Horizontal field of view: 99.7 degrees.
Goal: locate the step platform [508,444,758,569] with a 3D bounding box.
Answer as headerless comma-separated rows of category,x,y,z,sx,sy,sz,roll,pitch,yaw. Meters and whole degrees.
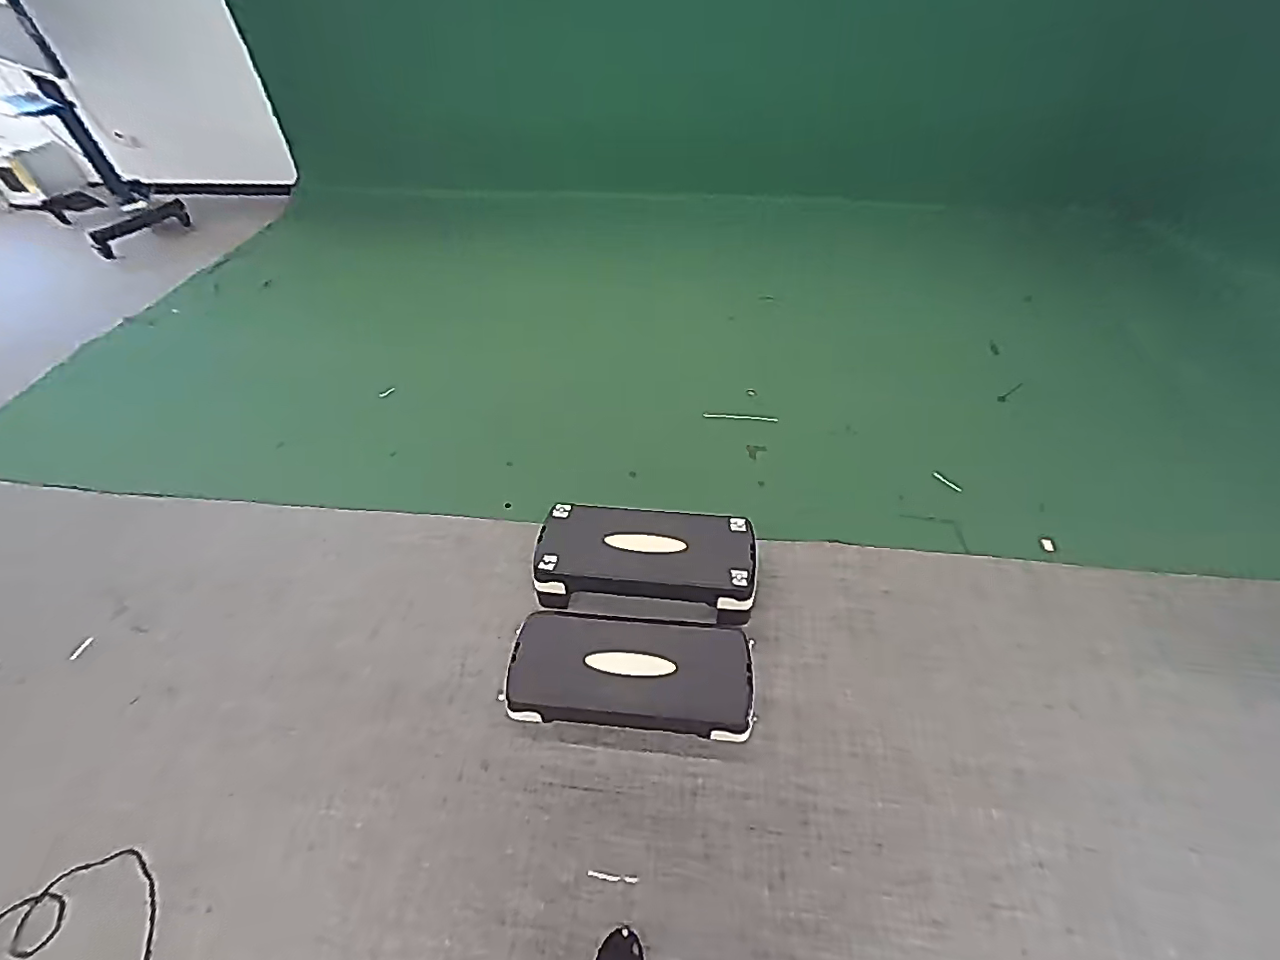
step platform,-0.015,0.076,1.567,0.684,0.204,0.286,3,48,5
